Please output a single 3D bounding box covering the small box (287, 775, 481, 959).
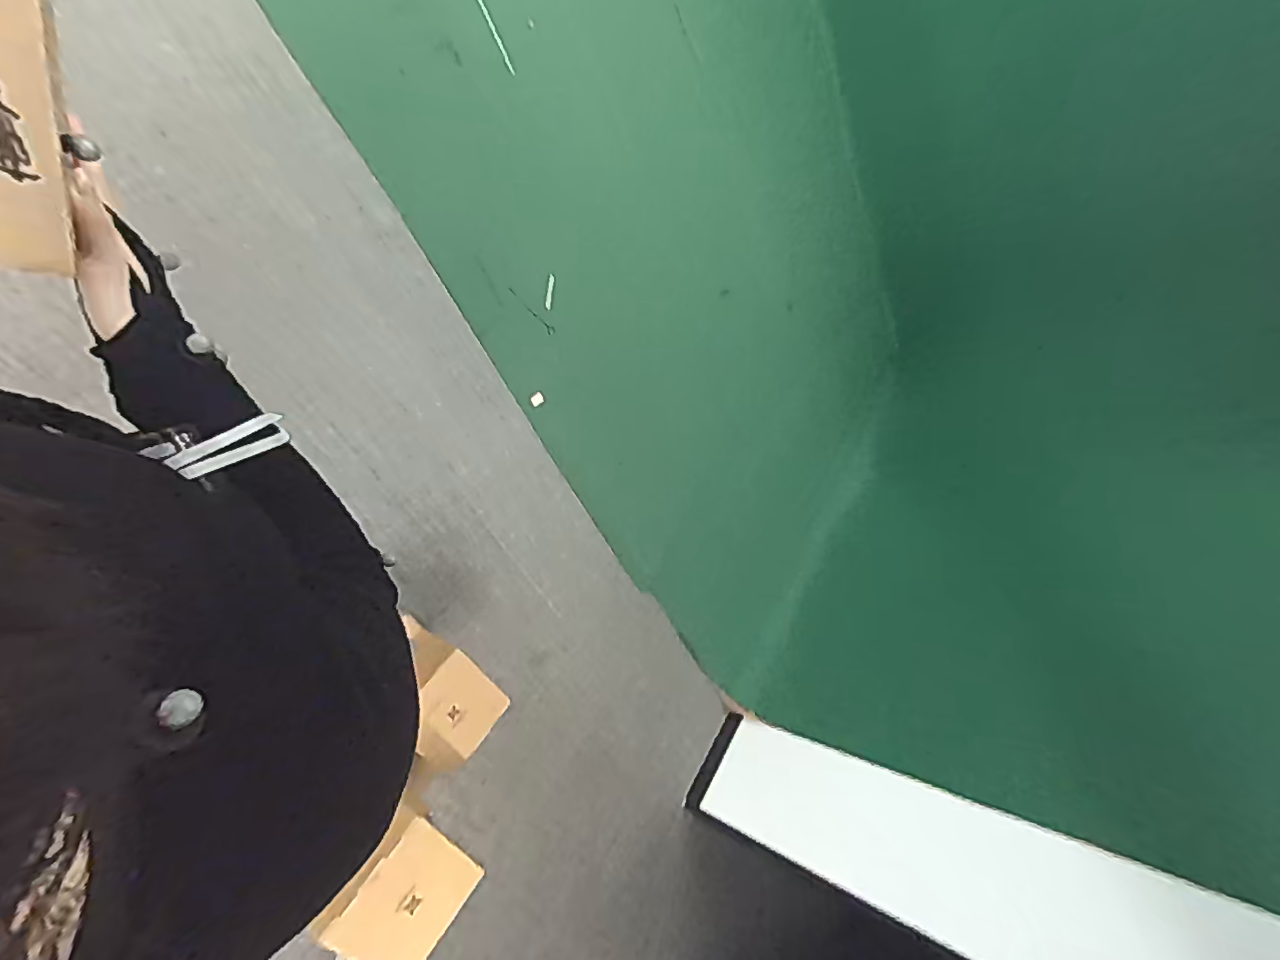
[{"bbox_3d":[-0.384,0.586,0.818,0.168,0.176,0.179,-49,124,-36],"label":"small box"}]
